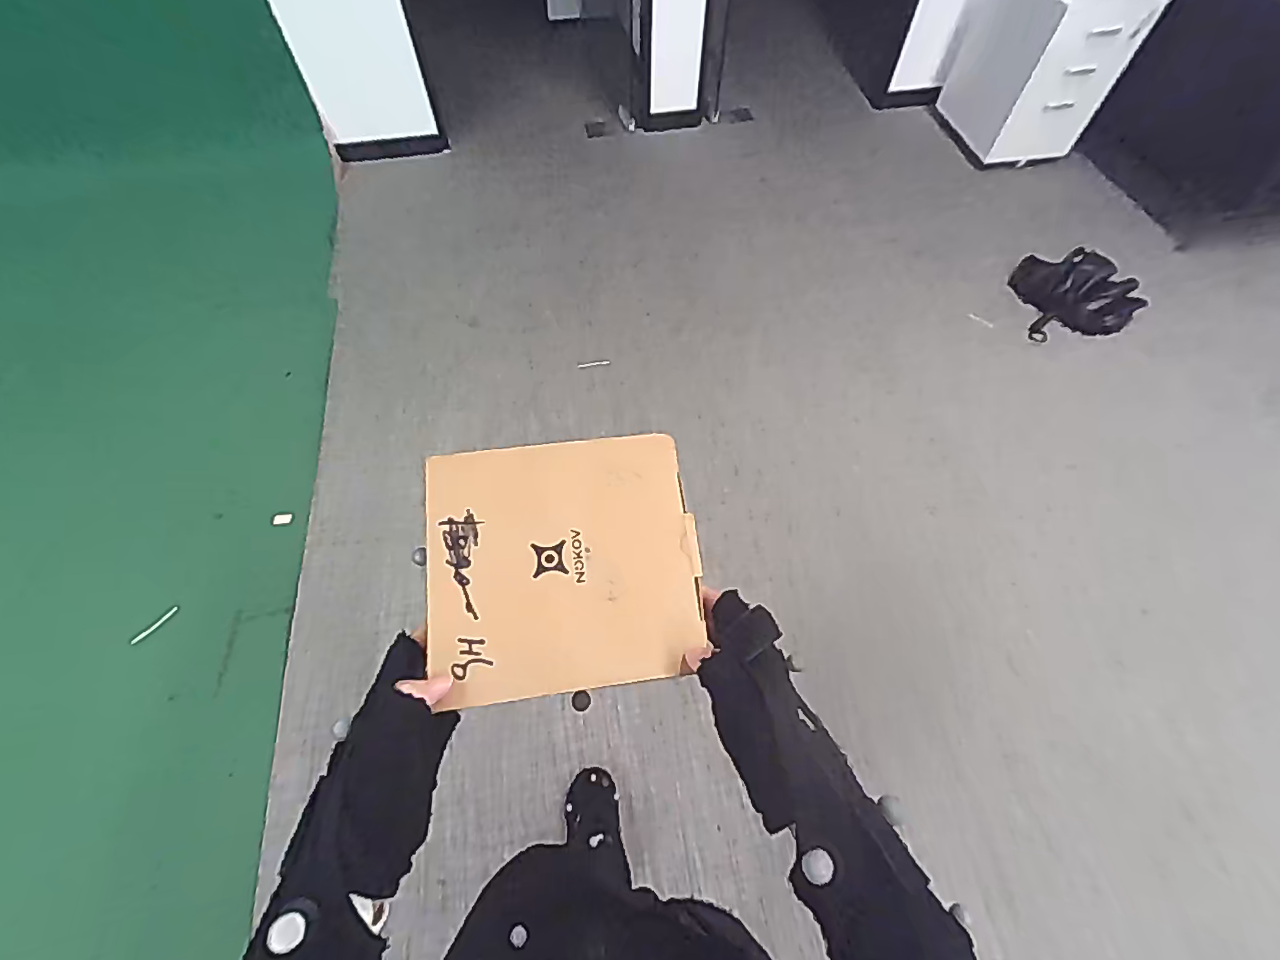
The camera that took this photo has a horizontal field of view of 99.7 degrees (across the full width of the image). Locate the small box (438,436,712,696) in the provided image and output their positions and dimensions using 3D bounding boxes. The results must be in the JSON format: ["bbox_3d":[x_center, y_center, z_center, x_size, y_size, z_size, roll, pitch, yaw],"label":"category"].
[{"bbox_3d":[-0.056,0.076,0.441,0.179,0.176,0.168,-5,70,-8],"label":"small box"}]
